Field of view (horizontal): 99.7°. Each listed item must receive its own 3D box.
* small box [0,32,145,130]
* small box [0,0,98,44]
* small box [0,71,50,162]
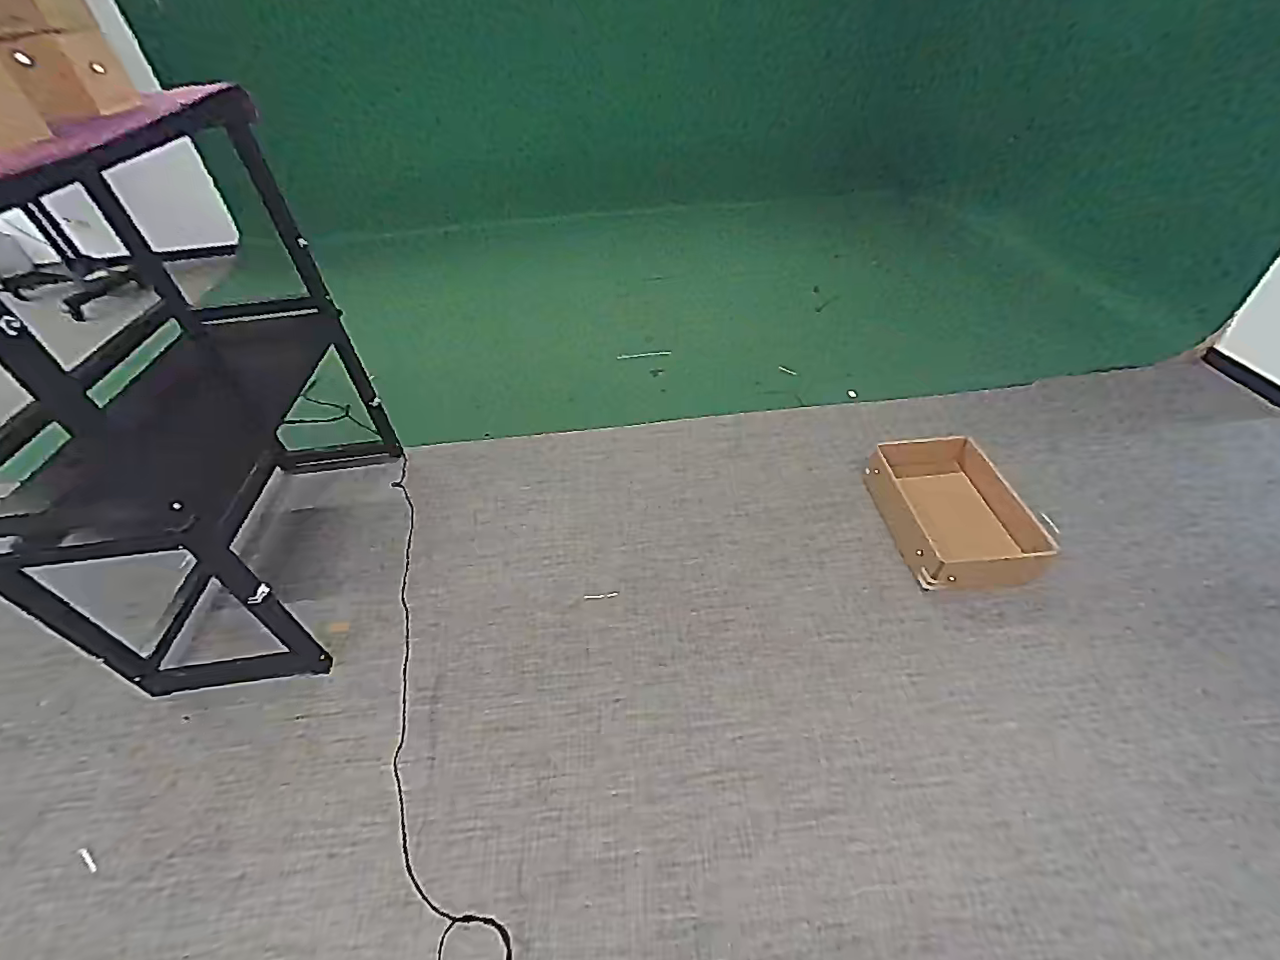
[{"bbox_3d":[-1.412,-0.993,1.347,0.179,0.176,0.168,-6,43,2],"label":"small box"},{"bbox_3d":[-1.418,-1.110,1.233,0.168,0.176,0.179,-7,43,-1],"label":"small box"},{"bbox_3d":[-1.305,-0.702,1.022,0.168,0.176,0.179,-10,43,-4],"label":"small box"}]
